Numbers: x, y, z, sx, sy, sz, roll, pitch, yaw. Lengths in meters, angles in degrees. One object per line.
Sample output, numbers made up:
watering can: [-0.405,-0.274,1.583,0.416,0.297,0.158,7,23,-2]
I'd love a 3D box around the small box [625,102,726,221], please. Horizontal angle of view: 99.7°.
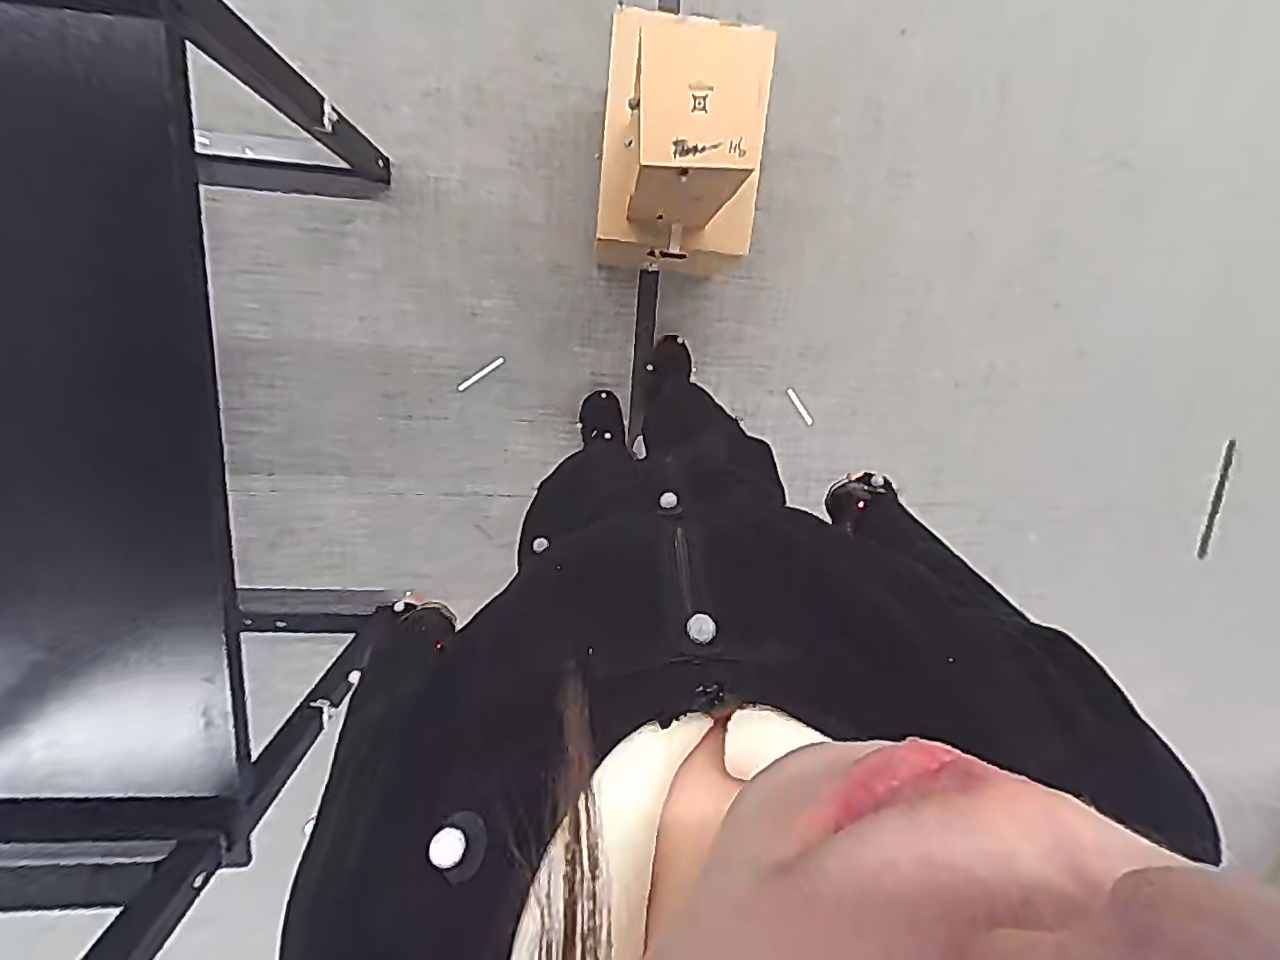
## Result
small box: [0.063,-0.578,0.956,0.168,0.176,0.179,3,103,-5]

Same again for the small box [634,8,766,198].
small box: [0.077,-0.539,0.797,0.168,0.176,0.179,0,102,-4]

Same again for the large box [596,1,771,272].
large box: [0.067,-0.698,1.180,0.320,0.320,0.408,4,102,-8]
